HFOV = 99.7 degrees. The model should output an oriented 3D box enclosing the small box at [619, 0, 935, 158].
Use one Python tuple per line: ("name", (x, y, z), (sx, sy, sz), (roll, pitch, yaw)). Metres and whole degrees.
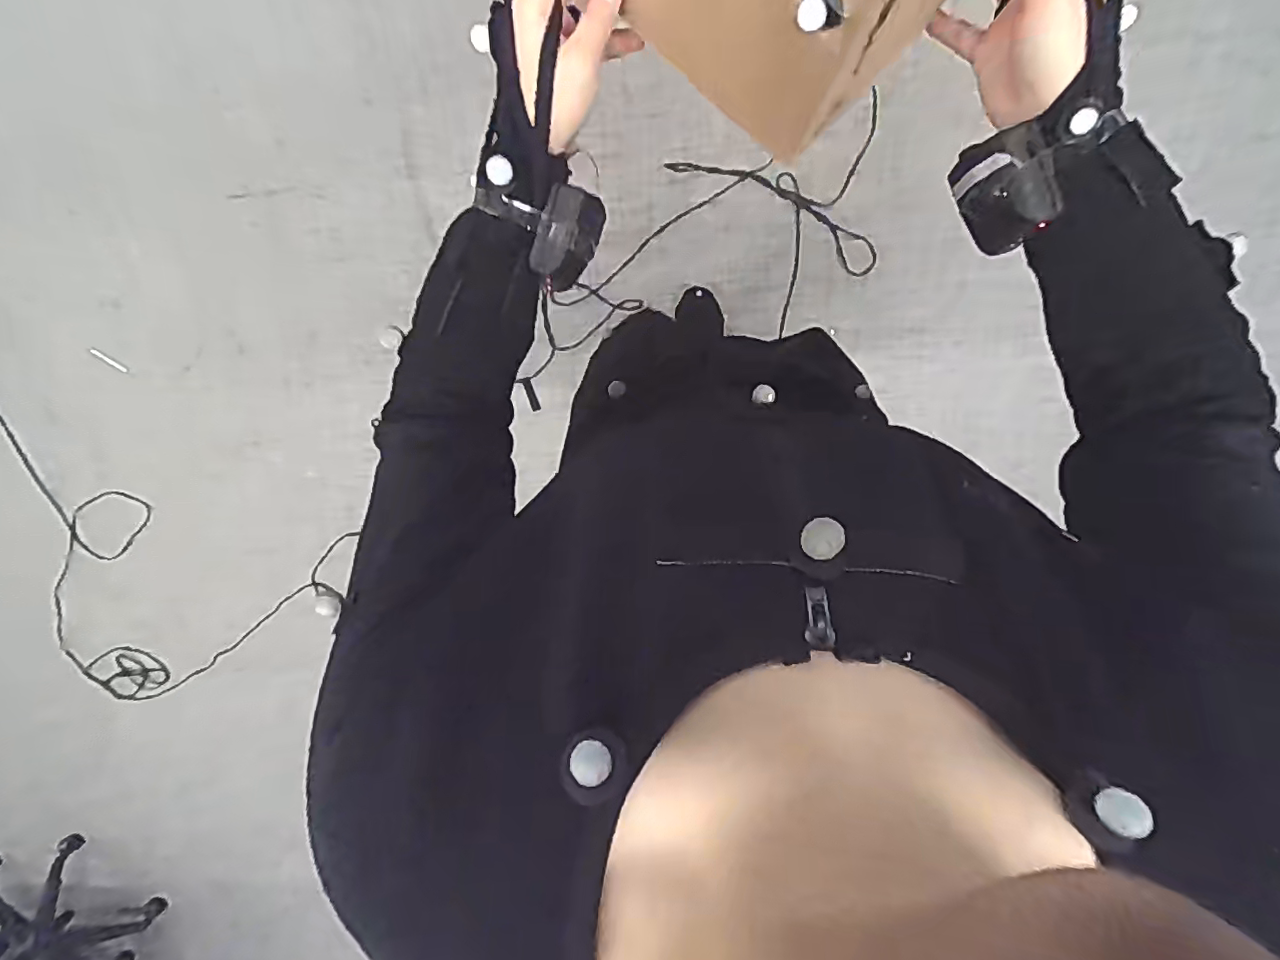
("small box", (0.092, -0.325, 0.269), (0.176, 0.168, 0.179), (42, 86, 0))
